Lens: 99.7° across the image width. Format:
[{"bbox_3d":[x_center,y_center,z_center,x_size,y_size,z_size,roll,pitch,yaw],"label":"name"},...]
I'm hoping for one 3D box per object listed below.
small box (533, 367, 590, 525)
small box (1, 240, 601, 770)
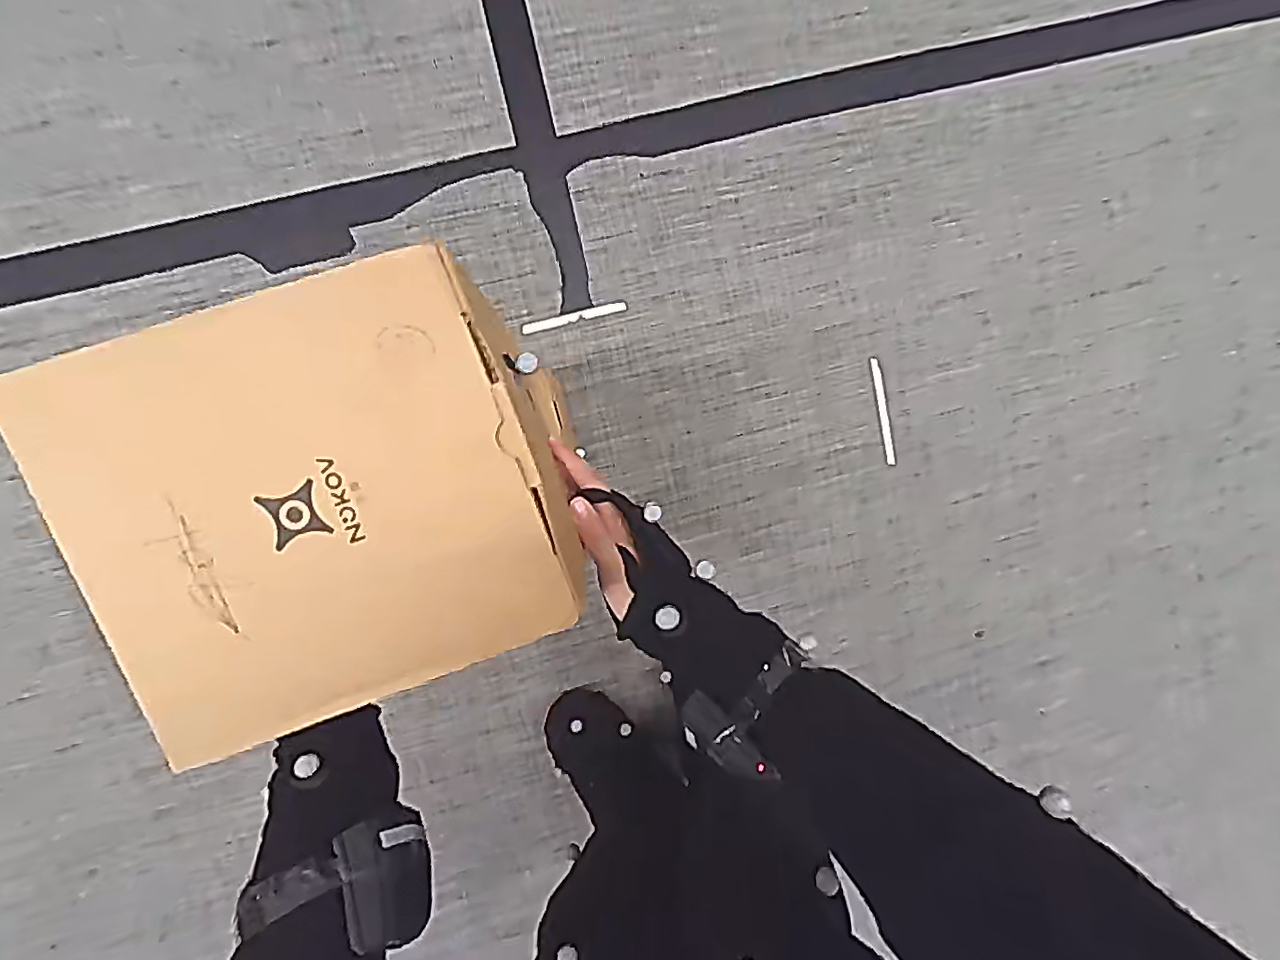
[{"bbox_3d":[-0.159,-0.022,0.614,0.179,0.176,0.168,-14,98,-5],"label":"small box"},{"bbox_3d":[-0.131,0.003,0.288,0.179,0.176,0.168,-20,97,-3],"label":"small box"}]
